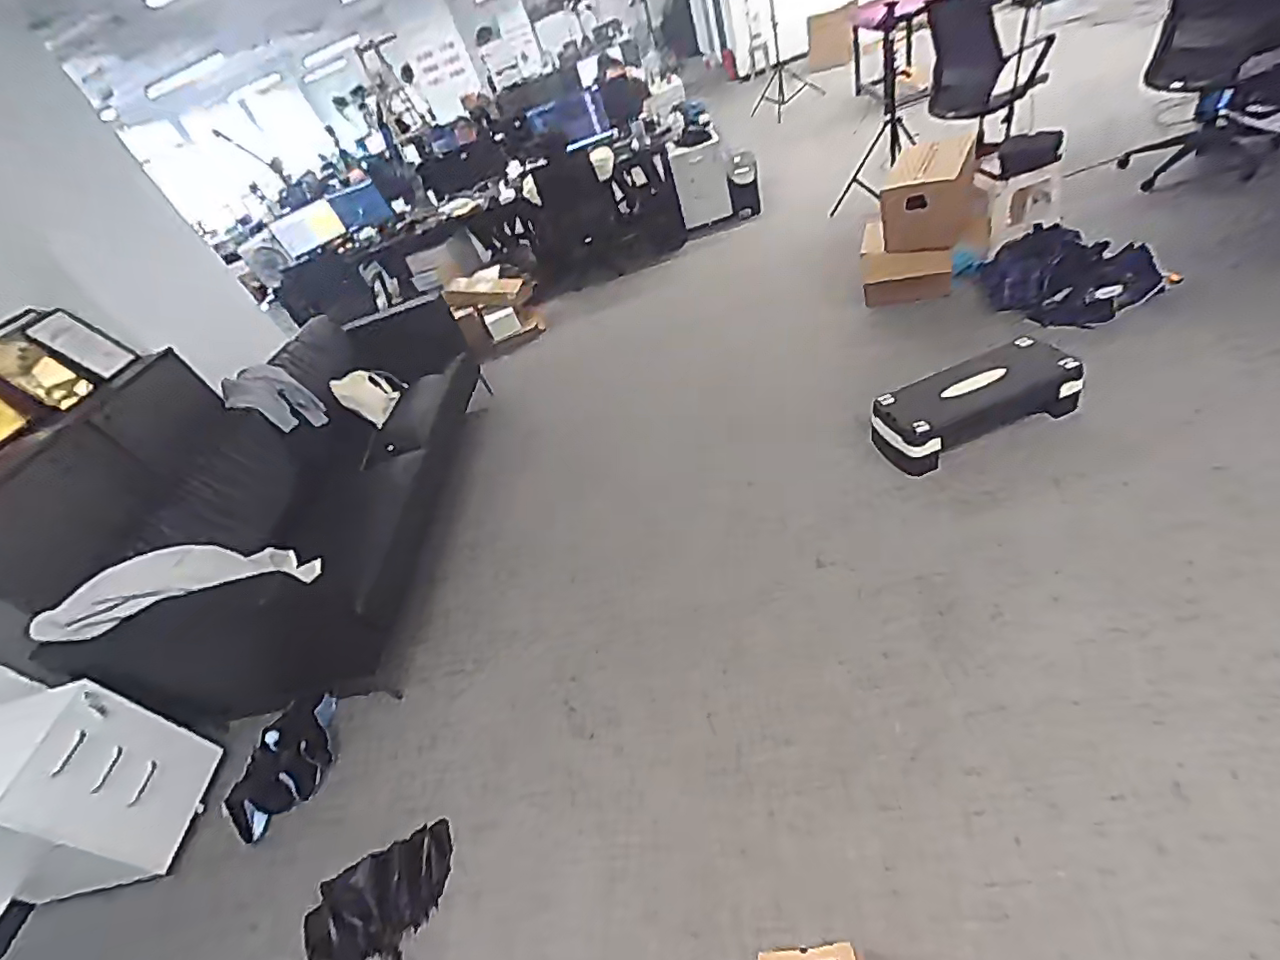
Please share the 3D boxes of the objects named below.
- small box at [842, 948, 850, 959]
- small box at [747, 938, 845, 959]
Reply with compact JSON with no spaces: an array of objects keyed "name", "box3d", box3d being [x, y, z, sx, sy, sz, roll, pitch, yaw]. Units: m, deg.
[{"name":"small box","box3d":[0.348,1.037,1.044,0.168,0.176,0.179,-16,42,11]},{"name":"small box","box3d":[0.294,0.928,0.935,0.168,0.176,0.179,-16,41,10]}]
